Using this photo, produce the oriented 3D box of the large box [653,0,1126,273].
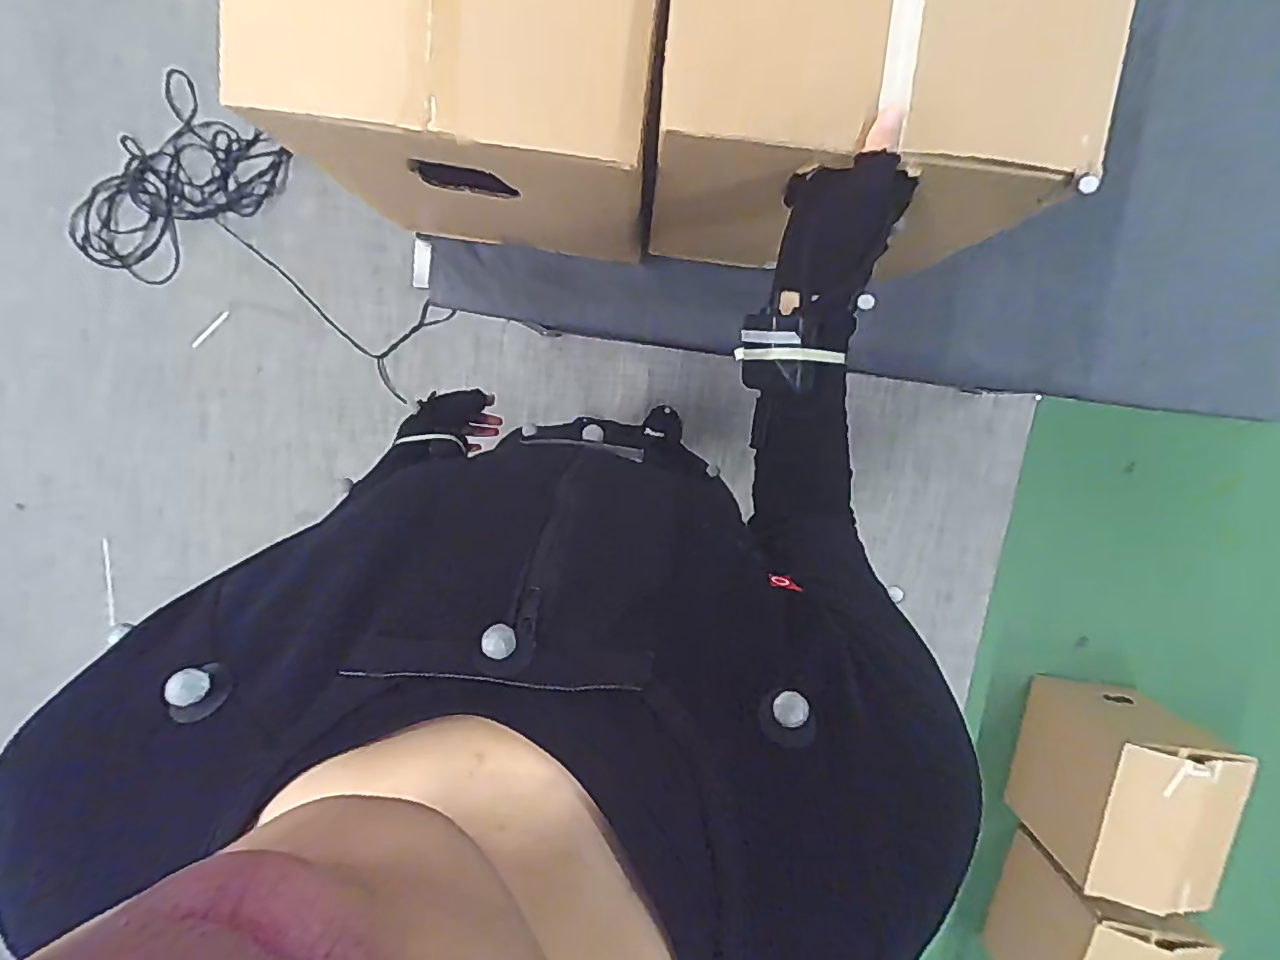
[{"bbox_3d":[0.184,-0.445,0.498,0.320,0.320,0.408,6,99,0],"label":"large box"}]
